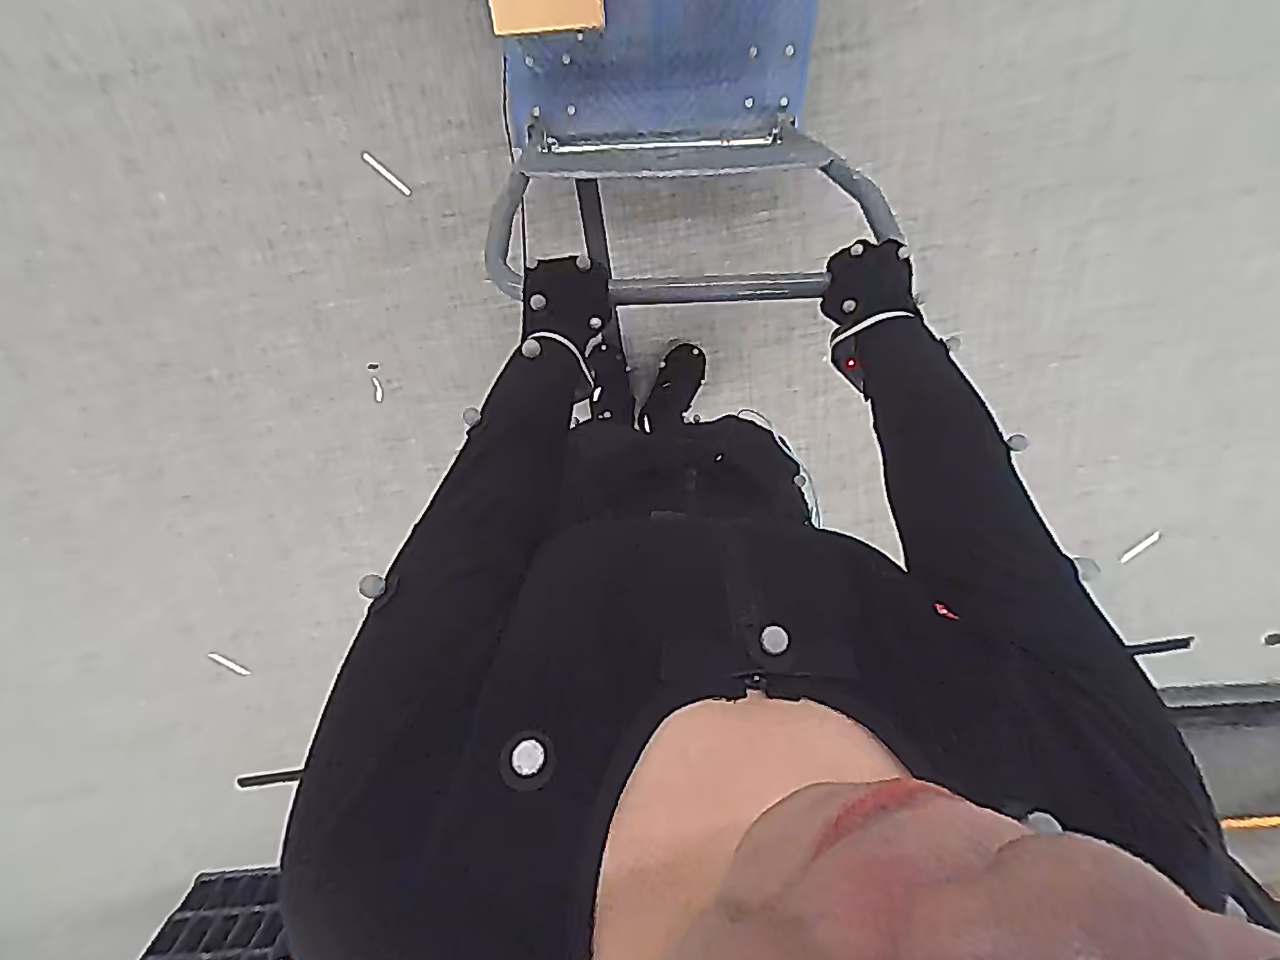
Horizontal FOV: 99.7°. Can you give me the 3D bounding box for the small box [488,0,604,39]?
[{"bbox_3d":[-0.154,-0.828,0.875,0.179,0.176,0.168,-5,128,1],"label":"small box"}]
